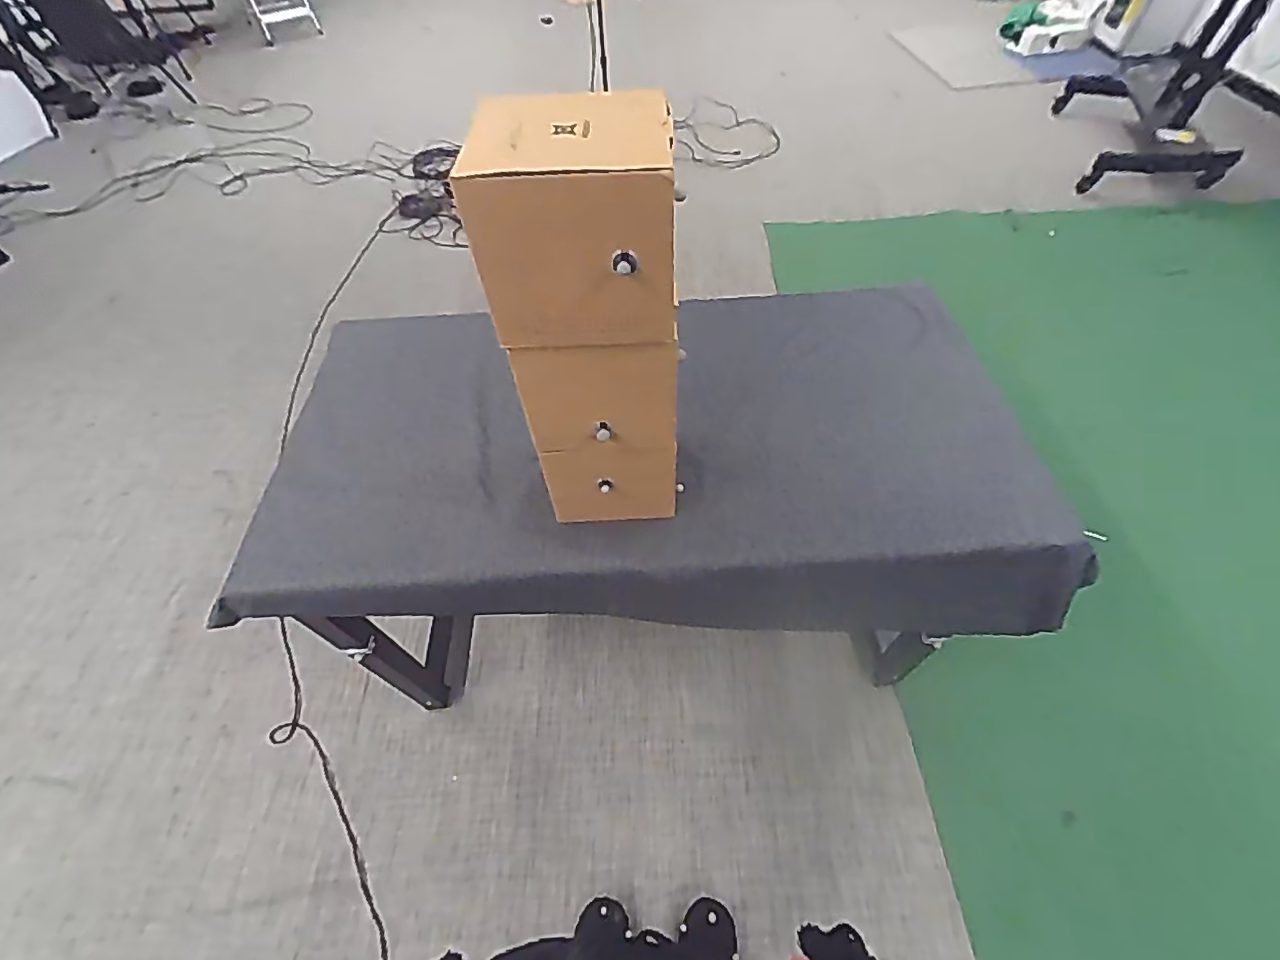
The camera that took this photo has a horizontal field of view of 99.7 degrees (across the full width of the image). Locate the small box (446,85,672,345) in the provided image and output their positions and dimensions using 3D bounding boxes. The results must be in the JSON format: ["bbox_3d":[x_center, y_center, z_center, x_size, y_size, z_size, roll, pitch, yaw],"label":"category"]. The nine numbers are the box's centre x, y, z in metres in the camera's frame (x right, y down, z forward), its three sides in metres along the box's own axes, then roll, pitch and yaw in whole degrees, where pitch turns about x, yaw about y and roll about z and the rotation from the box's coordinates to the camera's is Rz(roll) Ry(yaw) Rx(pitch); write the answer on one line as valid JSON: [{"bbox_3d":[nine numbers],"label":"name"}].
[{"bbox_3d":[-0.059,-0.249,0.523,0.179,0.176,0.168,-3,53,3],"label":"small box"}]

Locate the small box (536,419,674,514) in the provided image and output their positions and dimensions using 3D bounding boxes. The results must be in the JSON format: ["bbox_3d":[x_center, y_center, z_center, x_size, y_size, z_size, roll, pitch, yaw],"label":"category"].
[{"bbox_3d":[-0.043,-0.063,0.790,0.179,0.176,0.168,-3,54,2],"label":"small box"}]

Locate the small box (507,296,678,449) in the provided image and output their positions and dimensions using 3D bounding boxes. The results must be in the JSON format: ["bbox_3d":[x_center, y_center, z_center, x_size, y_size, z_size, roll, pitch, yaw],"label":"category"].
[{"bbox_3d":[-0.050,-0.154,0.658,0.179,0.176,0.168,-5,55,0],"label":"small box"}]
